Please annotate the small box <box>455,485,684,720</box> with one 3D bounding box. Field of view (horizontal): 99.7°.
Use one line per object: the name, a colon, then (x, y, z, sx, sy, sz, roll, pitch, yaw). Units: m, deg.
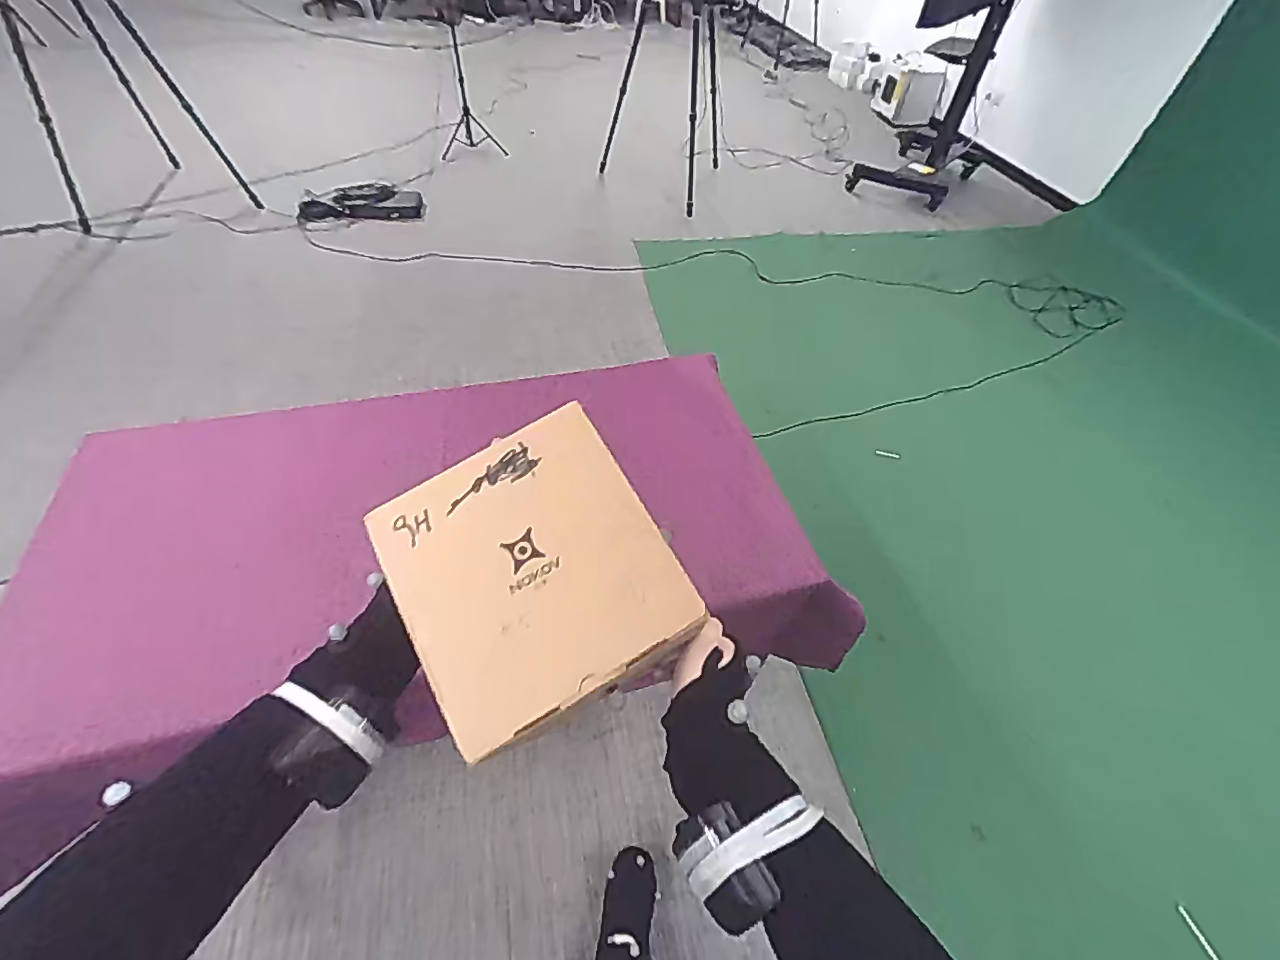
small box: (-0.063, 0.136, 0.579, 0.179, 0.176, 0.168, -26, 70, -6)
